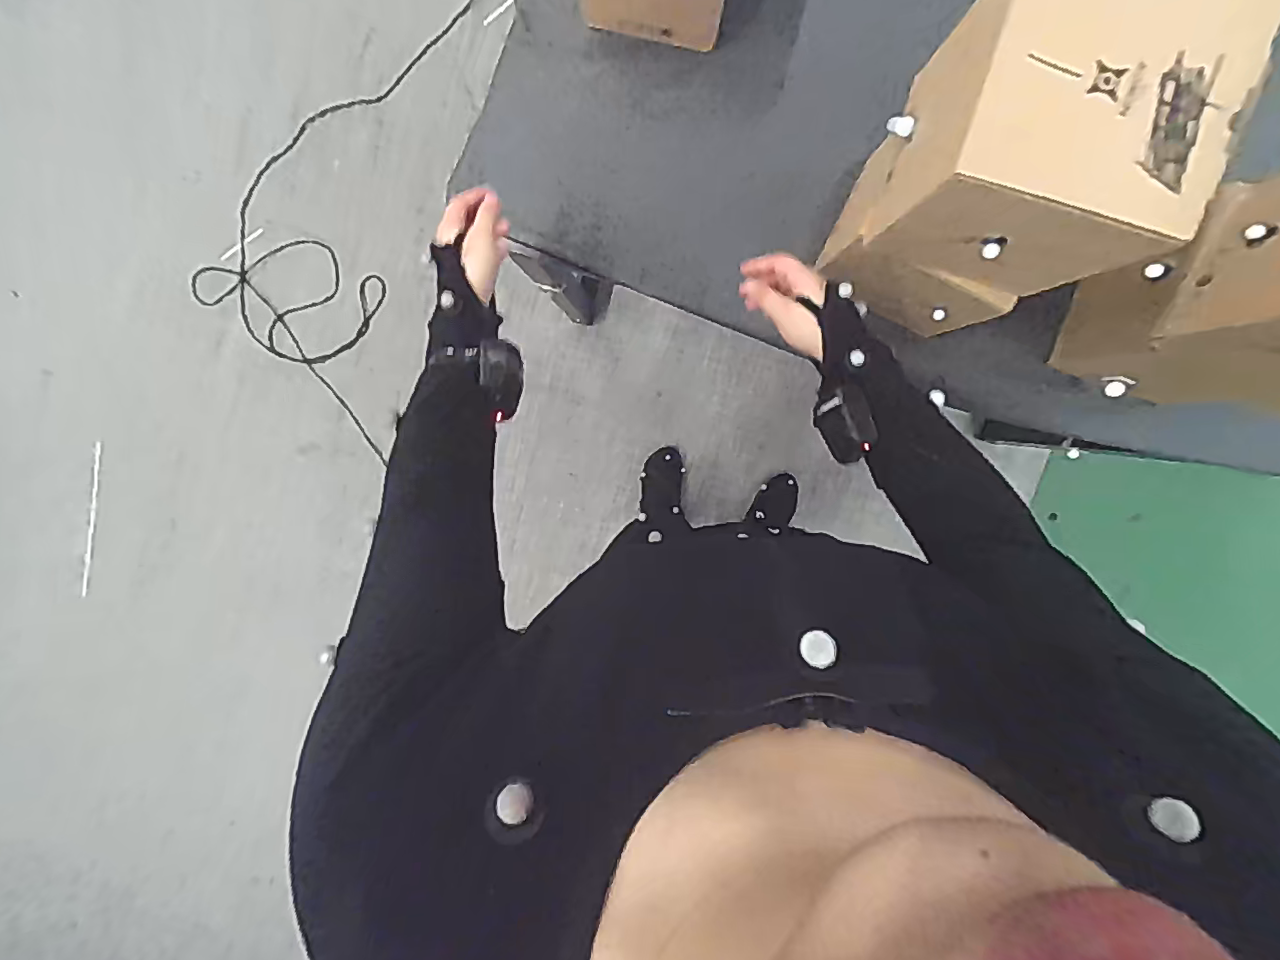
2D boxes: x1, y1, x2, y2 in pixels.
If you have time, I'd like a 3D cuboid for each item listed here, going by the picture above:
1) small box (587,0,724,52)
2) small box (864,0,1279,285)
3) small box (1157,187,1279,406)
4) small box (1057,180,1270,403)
[{"bbox_3d":[0.027,-0.617,0.576,0.168,0.176,0.179,13,98,0],"label":"small box"},{"bbox_3d":[0.319,-0.275,0.445,0.179,0.176,0.168,17,97,0],"label":"small box"},{"bbox_3d":[0.619,-0.162,0.451,0.179,0.176,0.168,28,96,0],"label":"small box"},{"bbox_3d":[0.628,-0.194,0.611,0.168,0.176,0.179,17,97,1],"label":"small box"}]
